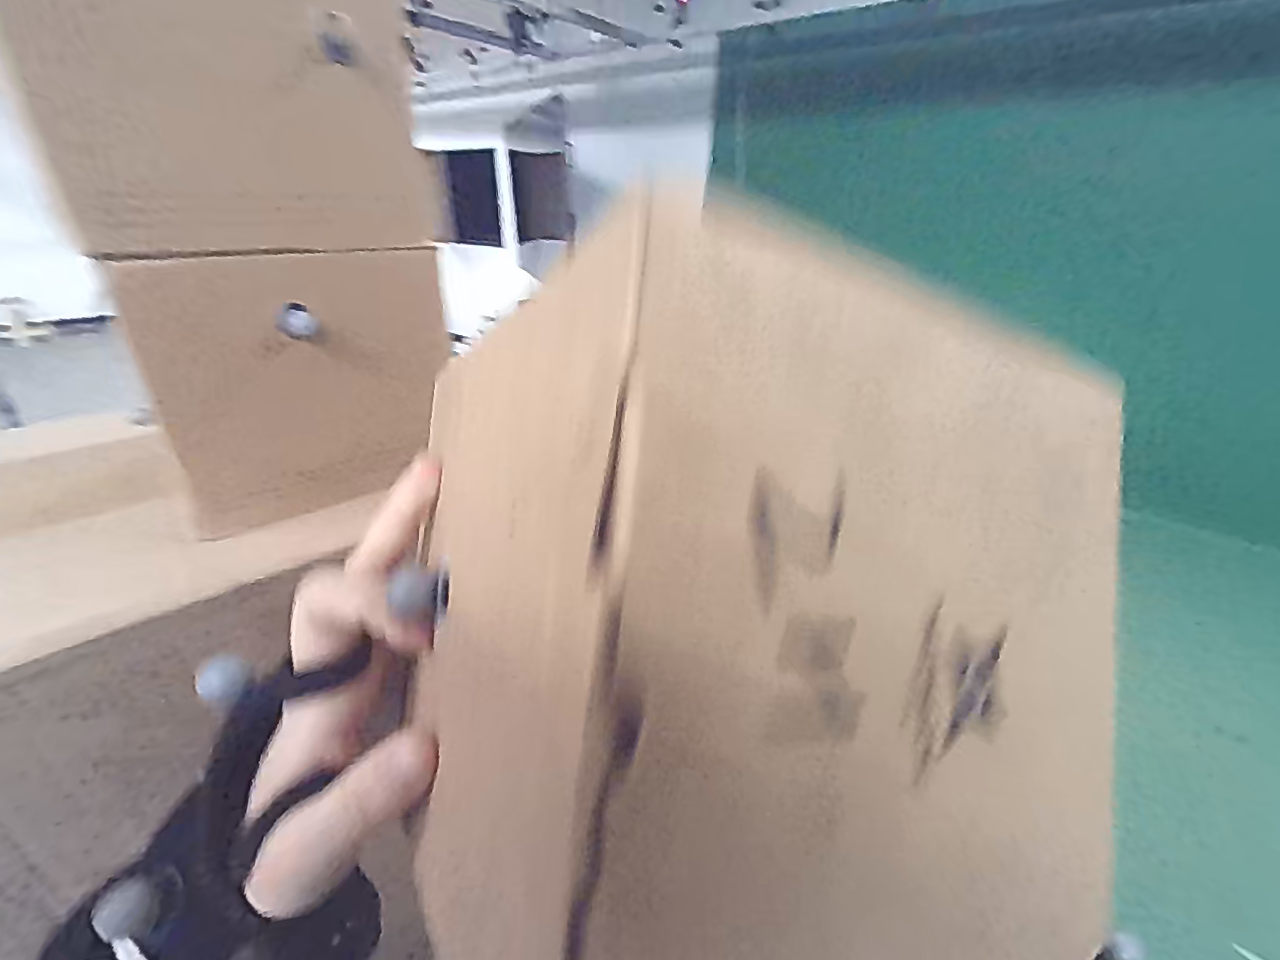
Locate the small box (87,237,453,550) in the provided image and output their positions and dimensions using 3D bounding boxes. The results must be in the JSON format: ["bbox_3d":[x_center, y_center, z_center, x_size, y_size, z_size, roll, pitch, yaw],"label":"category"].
[{"bbox_3d":[-0.254,-0.077,0.400,0.179,0.176,0.168,-23,38,-38],"label":"small box"}]
